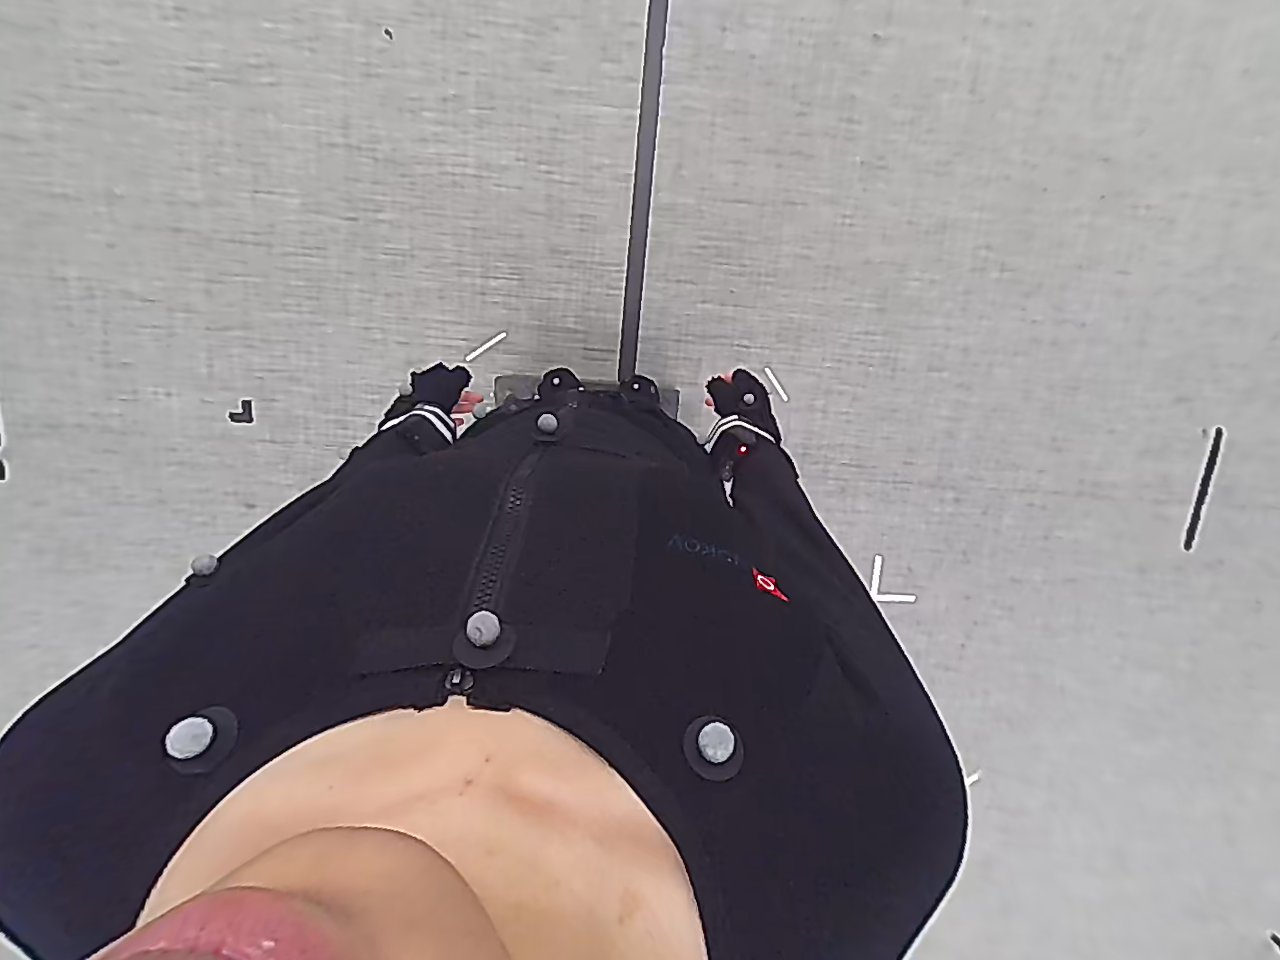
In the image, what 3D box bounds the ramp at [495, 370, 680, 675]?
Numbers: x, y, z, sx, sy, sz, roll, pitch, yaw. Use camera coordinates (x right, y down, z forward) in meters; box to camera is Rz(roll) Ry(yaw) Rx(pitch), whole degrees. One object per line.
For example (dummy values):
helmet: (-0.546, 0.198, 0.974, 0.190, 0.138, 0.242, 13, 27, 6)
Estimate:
ramp: (-0.168, 0.182, 1.610, 0.509, 0.206, 0.991, 2, 103, -2)
